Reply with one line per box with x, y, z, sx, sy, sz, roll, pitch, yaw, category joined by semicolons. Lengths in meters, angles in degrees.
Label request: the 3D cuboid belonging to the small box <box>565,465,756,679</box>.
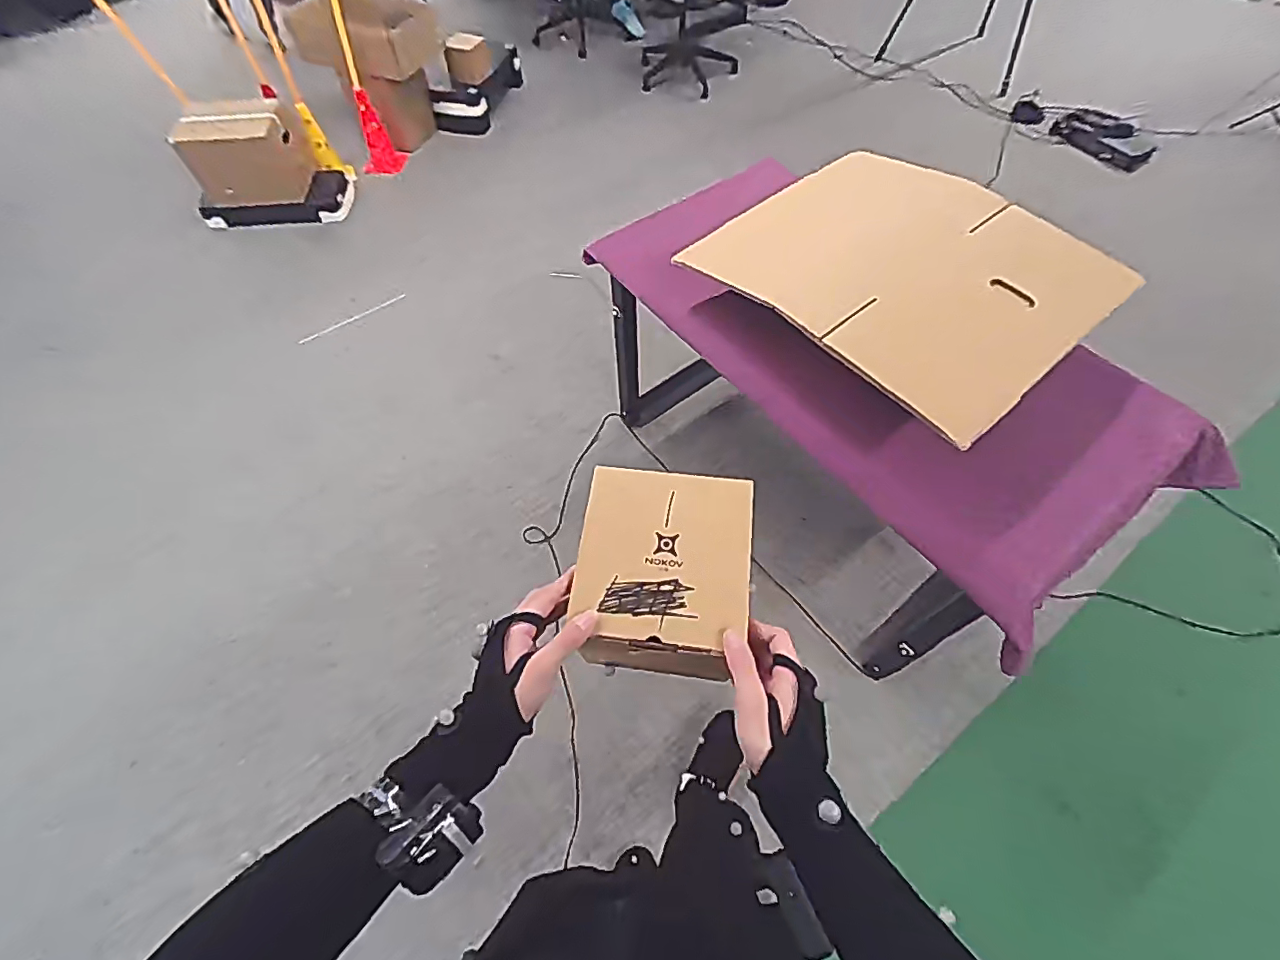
0.027;0.107;0.585;0.168;0.176;0.179;7;61;5;small box
